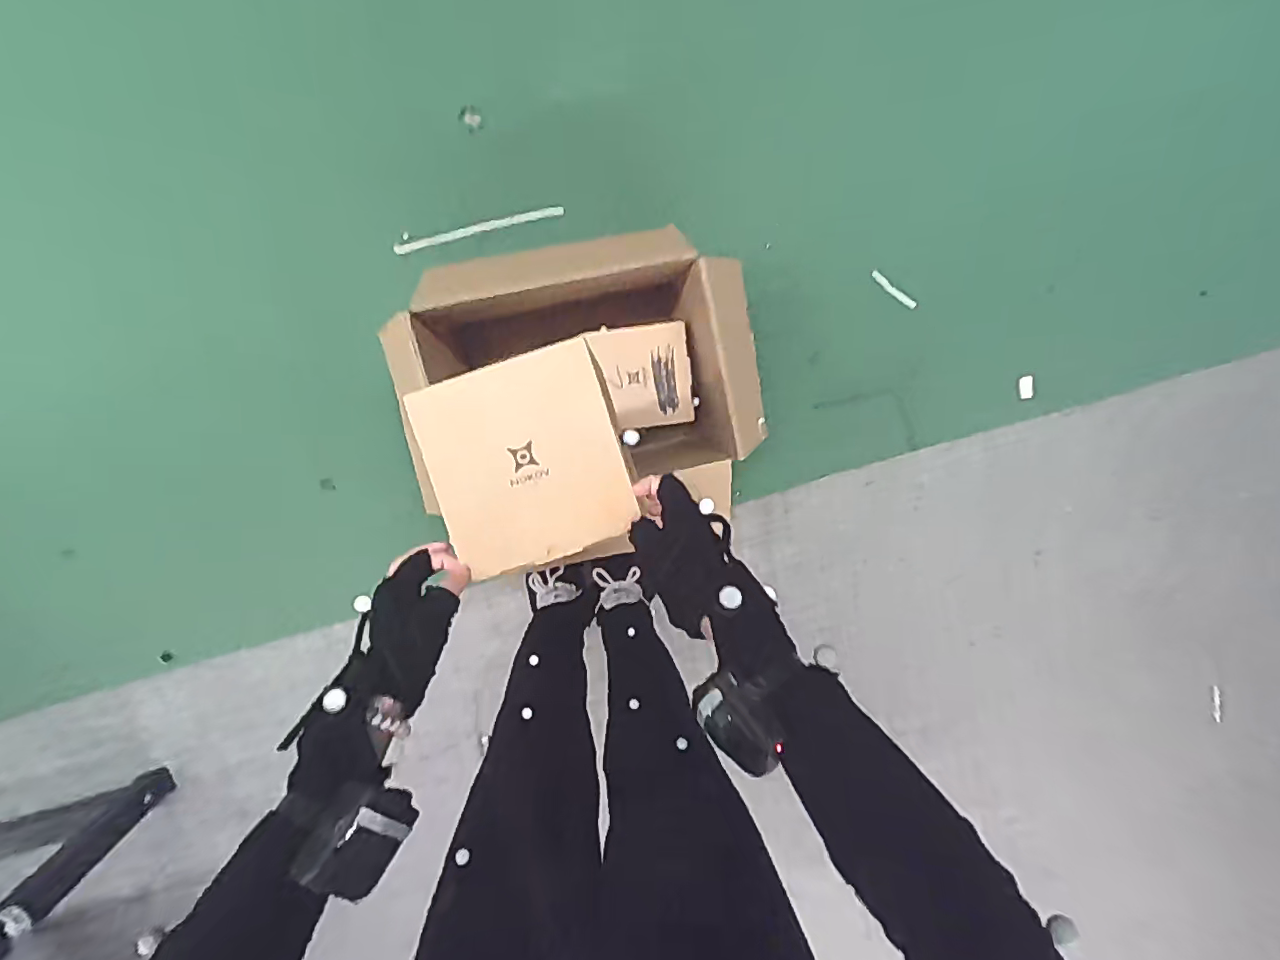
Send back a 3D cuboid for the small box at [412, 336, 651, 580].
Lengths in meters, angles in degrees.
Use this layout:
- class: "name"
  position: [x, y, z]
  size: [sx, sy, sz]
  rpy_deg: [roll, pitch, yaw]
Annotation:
- class: "small box"
  position: [-0.094, -0.022, 0.539]
  size: [0.168, 0.176, 0.179]
  rpy_deg: [-17, 94, 0]
